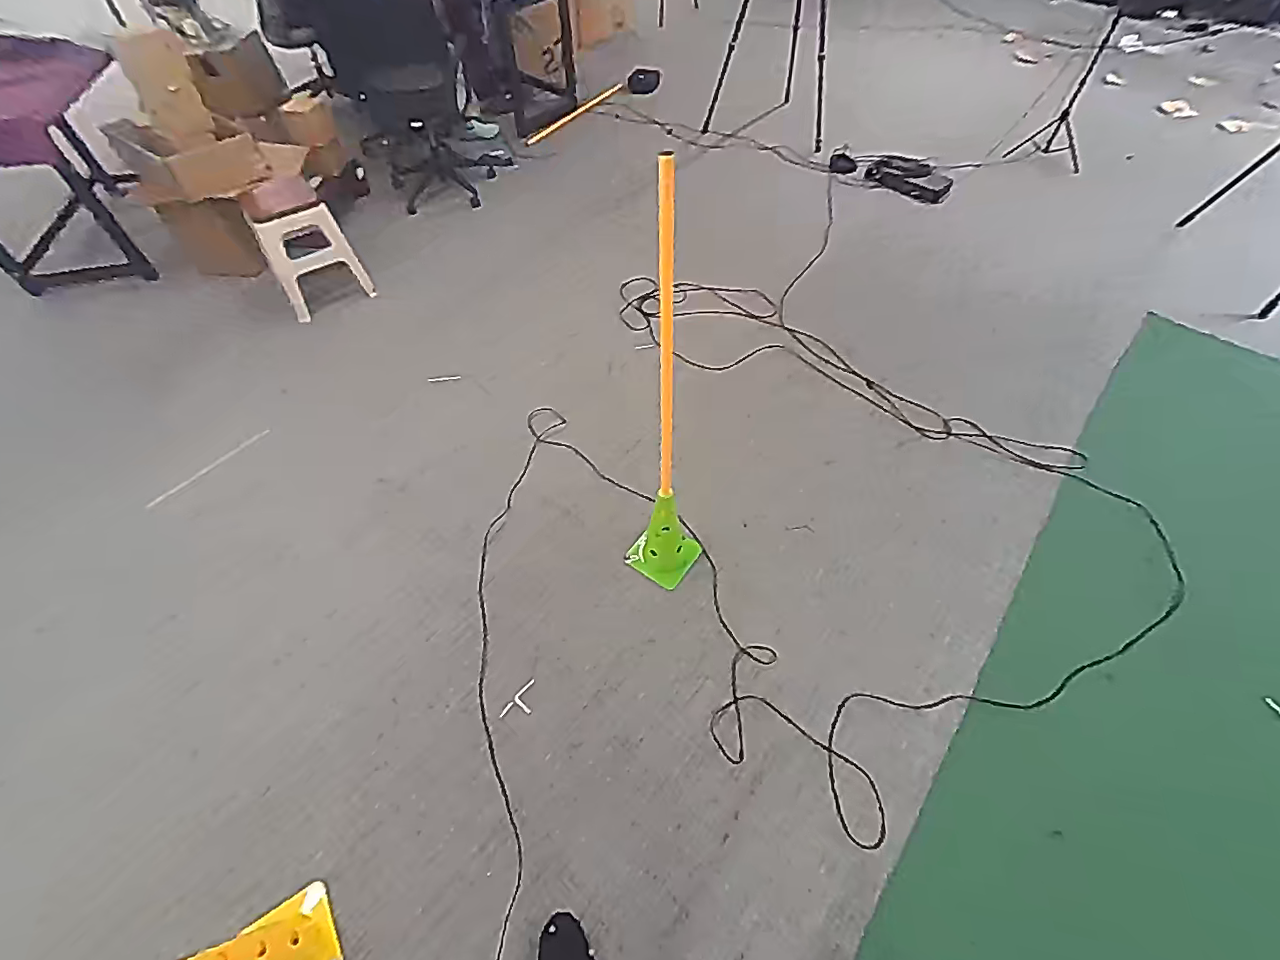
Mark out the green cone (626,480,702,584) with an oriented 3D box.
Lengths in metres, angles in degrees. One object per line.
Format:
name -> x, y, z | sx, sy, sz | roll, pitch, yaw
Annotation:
green cone -> 0.080, 0.126, 1.652 | 0.200, 0.368, 0.202 | 30, 58, 21
